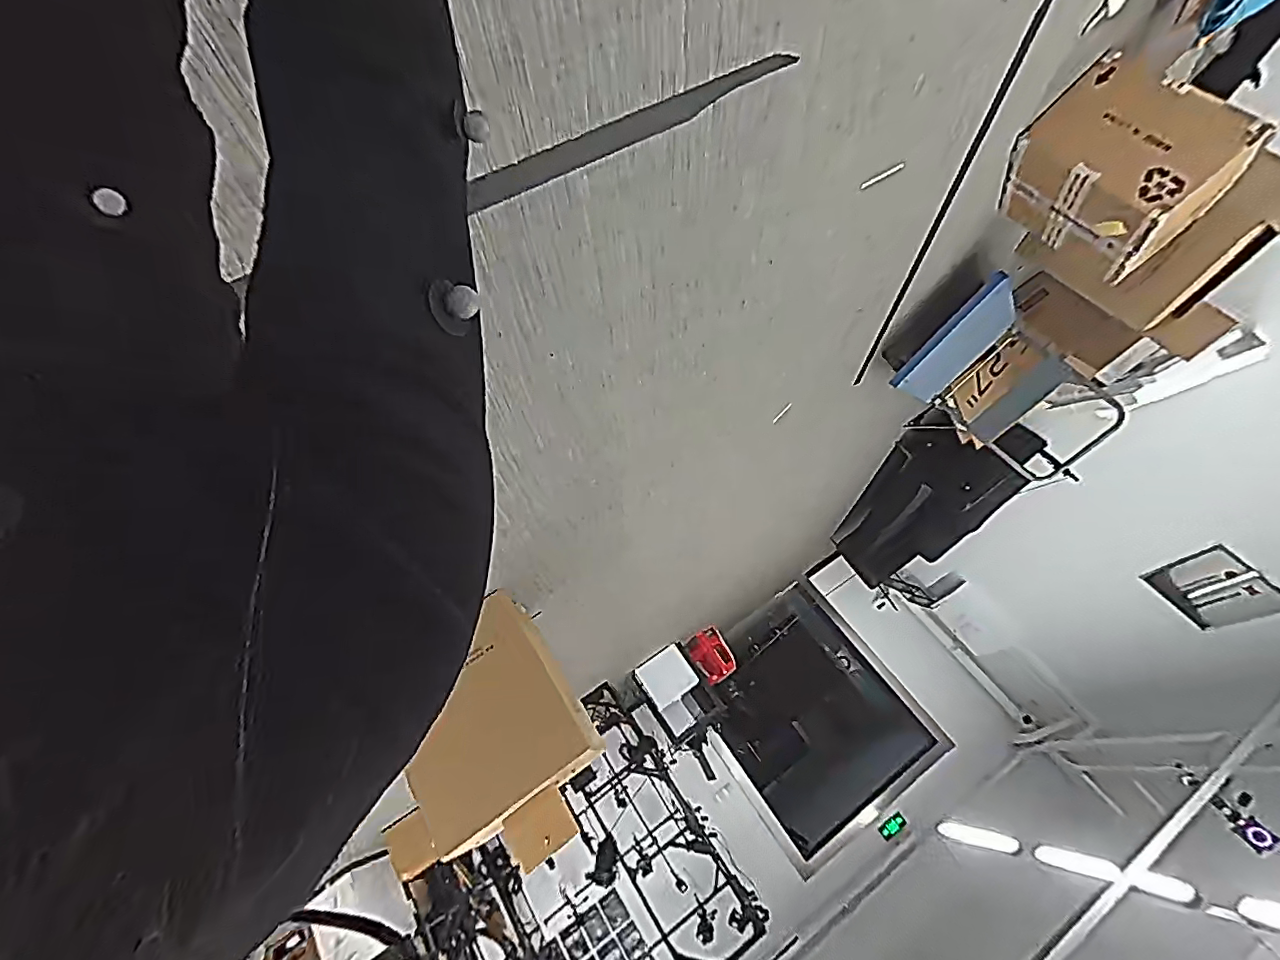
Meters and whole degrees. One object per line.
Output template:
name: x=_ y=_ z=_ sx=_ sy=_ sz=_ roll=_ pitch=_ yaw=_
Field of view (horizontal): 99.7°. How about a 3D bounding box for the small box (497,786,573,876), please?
small box: x=-0.337 y=1.110 z=1.722 sx=0.179 sy=0.176 sz=0.168 roll=-32 pitch=155 yaw=-16
